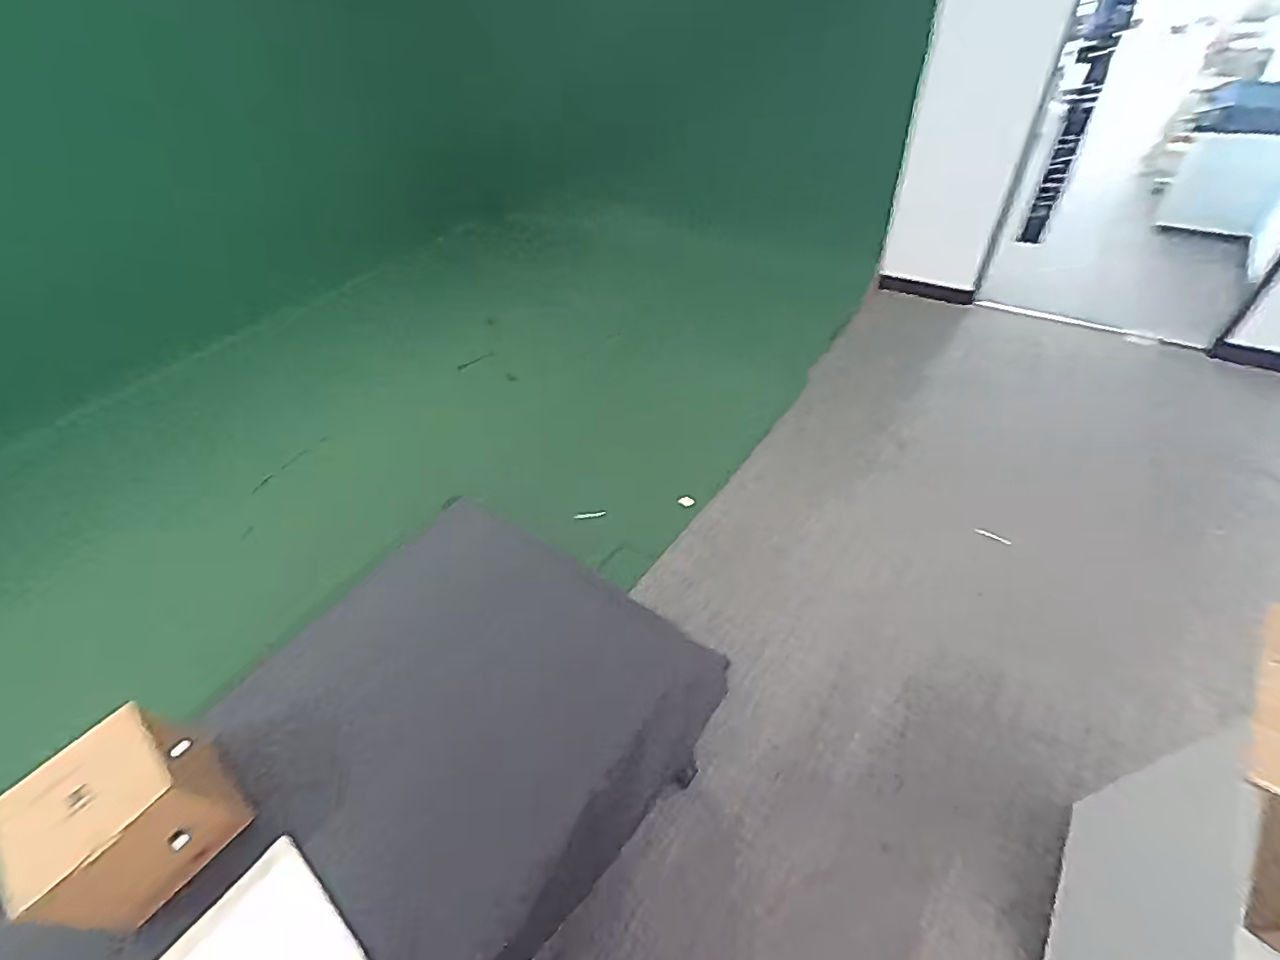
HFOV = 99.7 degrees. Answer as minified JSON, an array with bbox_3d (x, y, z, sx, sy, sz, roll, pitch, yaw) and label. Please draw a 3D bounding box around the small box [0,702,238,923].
[{"bbox_3d":[-0.683,0.435,0.709,0.179,0.176,0.168,27,55,29],"label":"small box"}]
